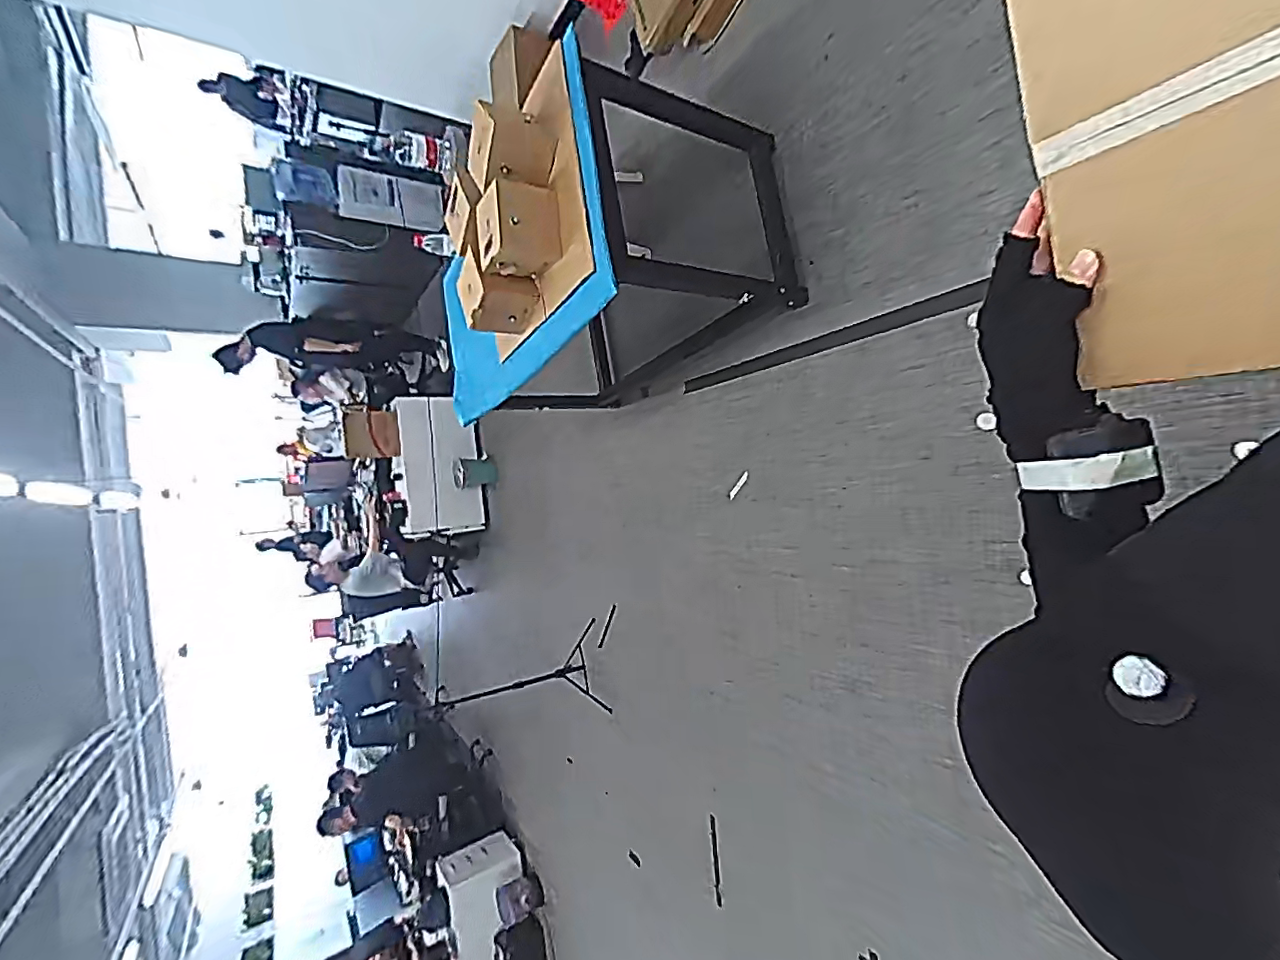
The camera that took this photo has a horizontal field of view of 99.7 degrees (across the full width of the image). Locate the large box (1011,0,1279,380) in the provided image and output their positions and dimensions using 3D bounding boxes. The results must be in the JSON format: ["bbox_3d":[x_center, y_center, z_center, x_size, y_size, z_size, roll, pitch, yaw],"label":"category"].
[{"bbox_3d":[0.487,-0.269,0.265,0.408,0.320,0.320,0,112,59],"label":"large box"}]
